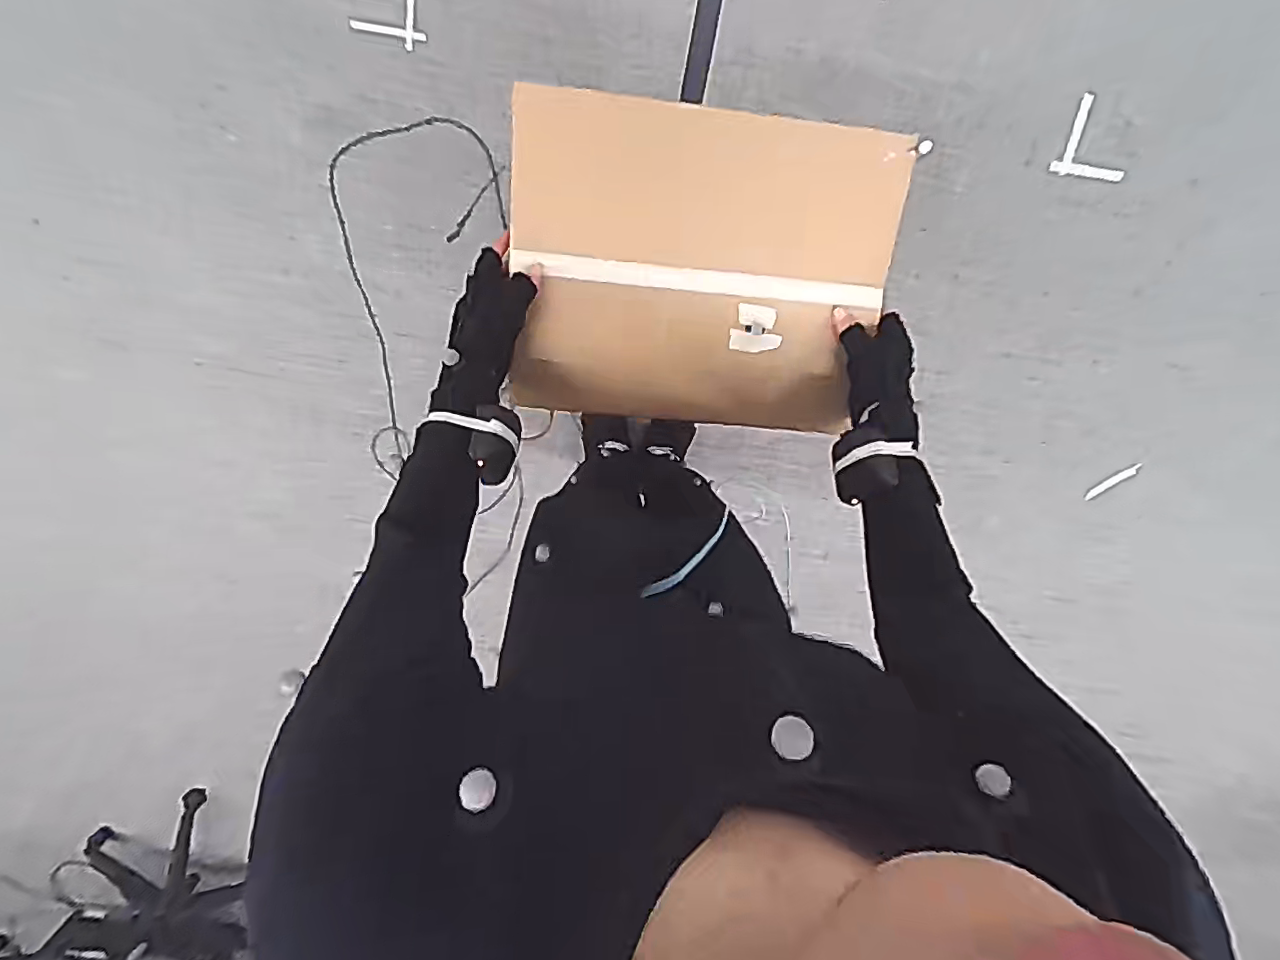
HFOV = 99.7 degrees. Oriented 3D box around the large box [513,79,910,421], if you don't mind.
[{"bbox_3d":[0.055,-0.275,0.718,0.408,0.320,0.320,4,111,-5],"label":"large box"}]
